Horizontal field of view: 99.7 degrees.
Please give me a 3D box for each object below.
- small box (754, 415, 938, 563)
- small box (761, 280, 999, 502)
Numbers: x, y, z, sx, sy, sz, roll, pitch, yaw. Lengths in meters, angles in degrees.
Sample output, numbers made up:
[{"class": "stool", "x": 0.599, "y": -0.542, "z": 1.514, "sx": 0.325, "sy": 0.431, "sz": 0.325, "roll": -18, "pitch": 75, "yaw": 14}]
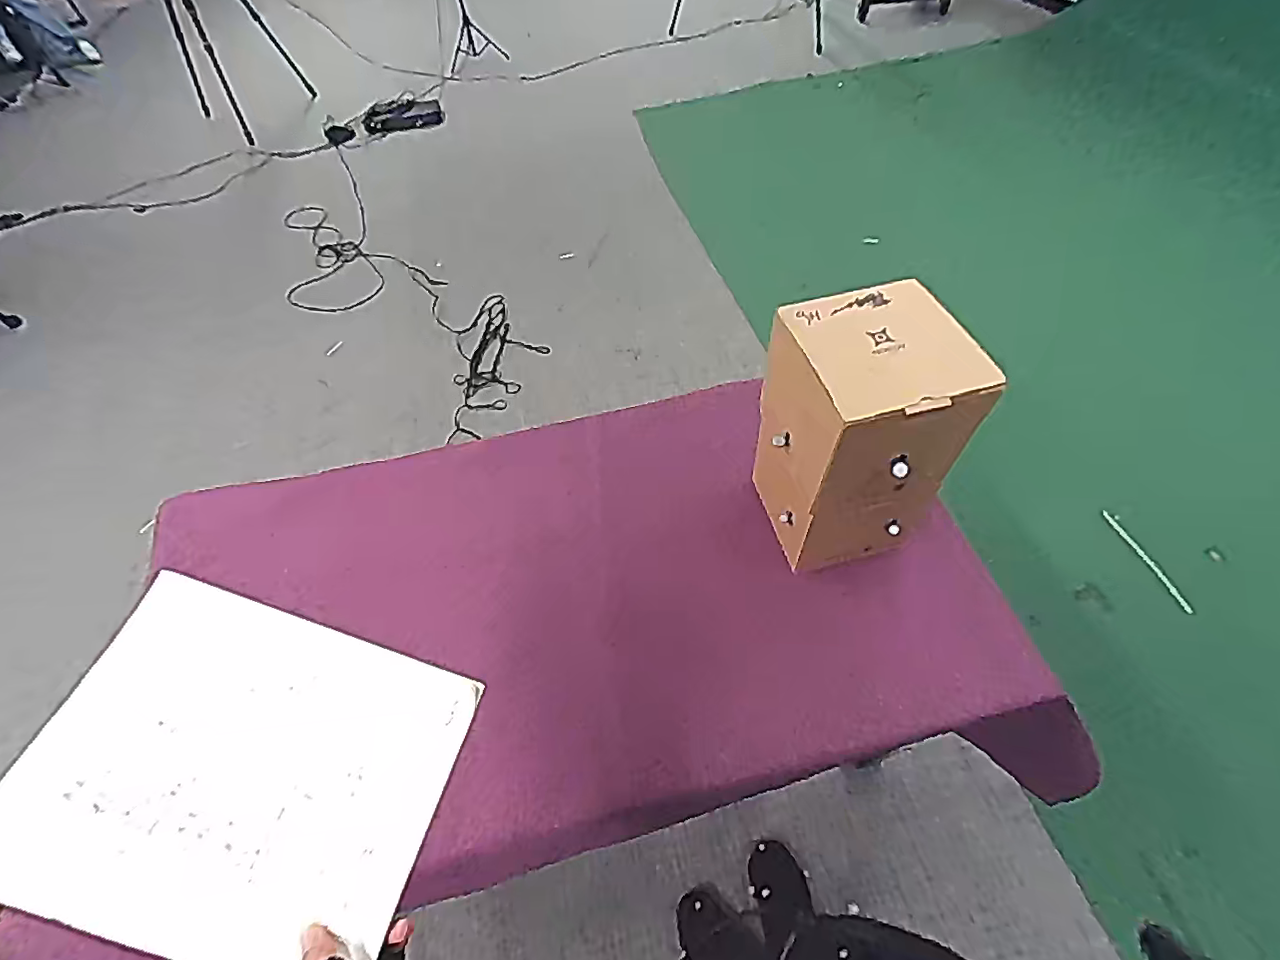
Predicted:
[{"class": "small box", "x": 0.268, "y": -0.001, "z": 0.752, "sx": 0.168, "sy": 0.176, "sz": 0.179, "roll": -13, "pitch": 55, "yaw": -4}, {"class": "small box", "x": 0.250, "y": -0.091, "z": 0.616, "sx": 0.168, "sy": 0.176, "sz": 0.179, "roll": -12, "pitch": 56, "yaw": -4}]
